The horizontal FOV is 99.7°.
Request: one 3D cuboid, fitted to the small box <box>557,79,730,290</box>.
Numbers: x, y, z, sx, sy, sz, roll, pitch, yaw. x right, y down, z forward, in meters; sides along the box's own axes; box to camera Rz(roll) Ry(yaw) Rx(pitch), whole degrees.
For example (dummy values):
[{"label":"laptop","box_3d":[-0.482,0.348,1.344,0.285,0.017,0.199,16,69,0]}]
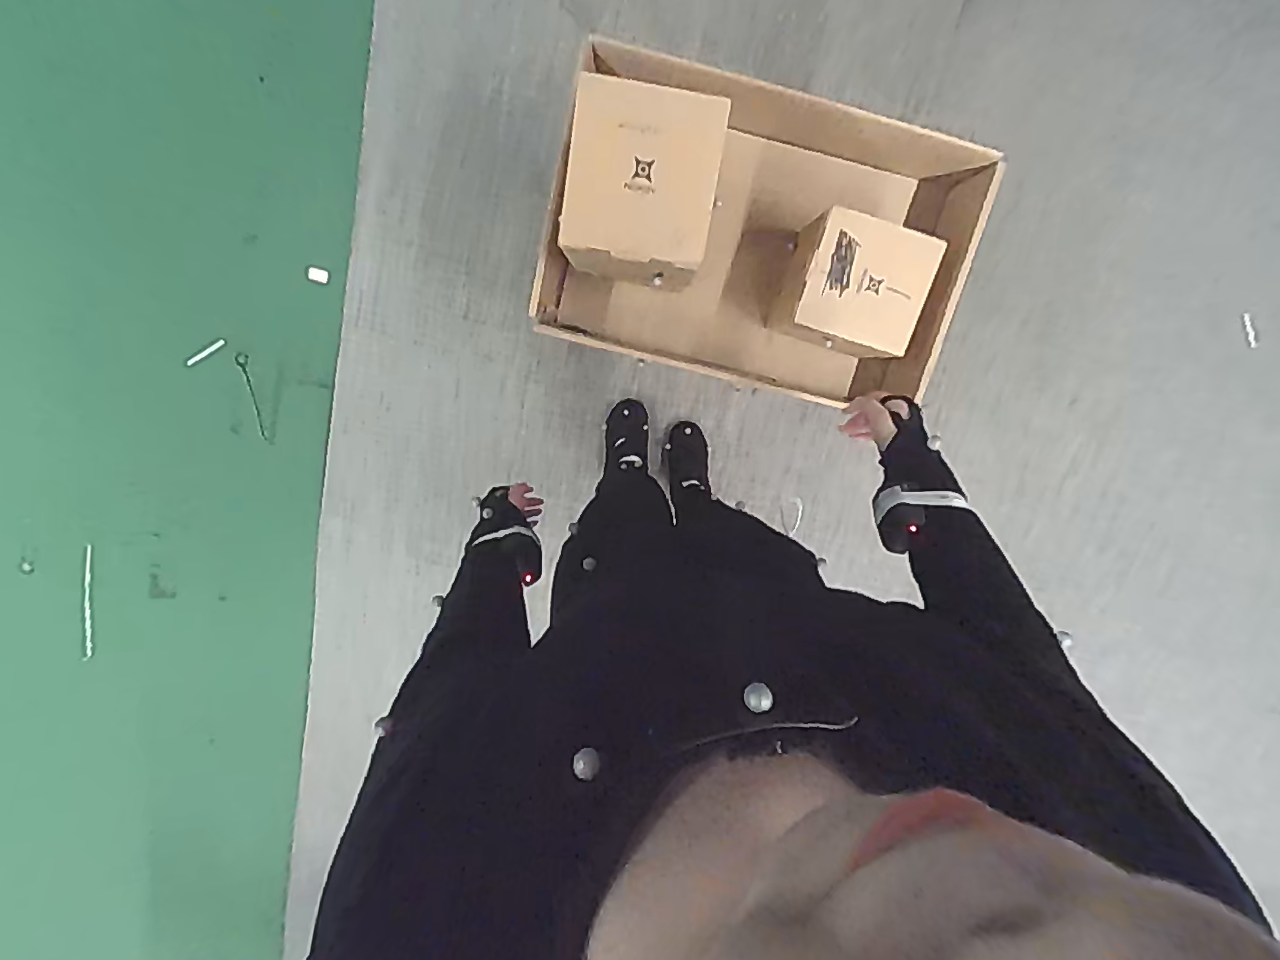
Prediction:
[{"label":"small box","box_3d":[0.003,-0.342,0.665,0.168,0.176,0.179,10,102,-2]}]
